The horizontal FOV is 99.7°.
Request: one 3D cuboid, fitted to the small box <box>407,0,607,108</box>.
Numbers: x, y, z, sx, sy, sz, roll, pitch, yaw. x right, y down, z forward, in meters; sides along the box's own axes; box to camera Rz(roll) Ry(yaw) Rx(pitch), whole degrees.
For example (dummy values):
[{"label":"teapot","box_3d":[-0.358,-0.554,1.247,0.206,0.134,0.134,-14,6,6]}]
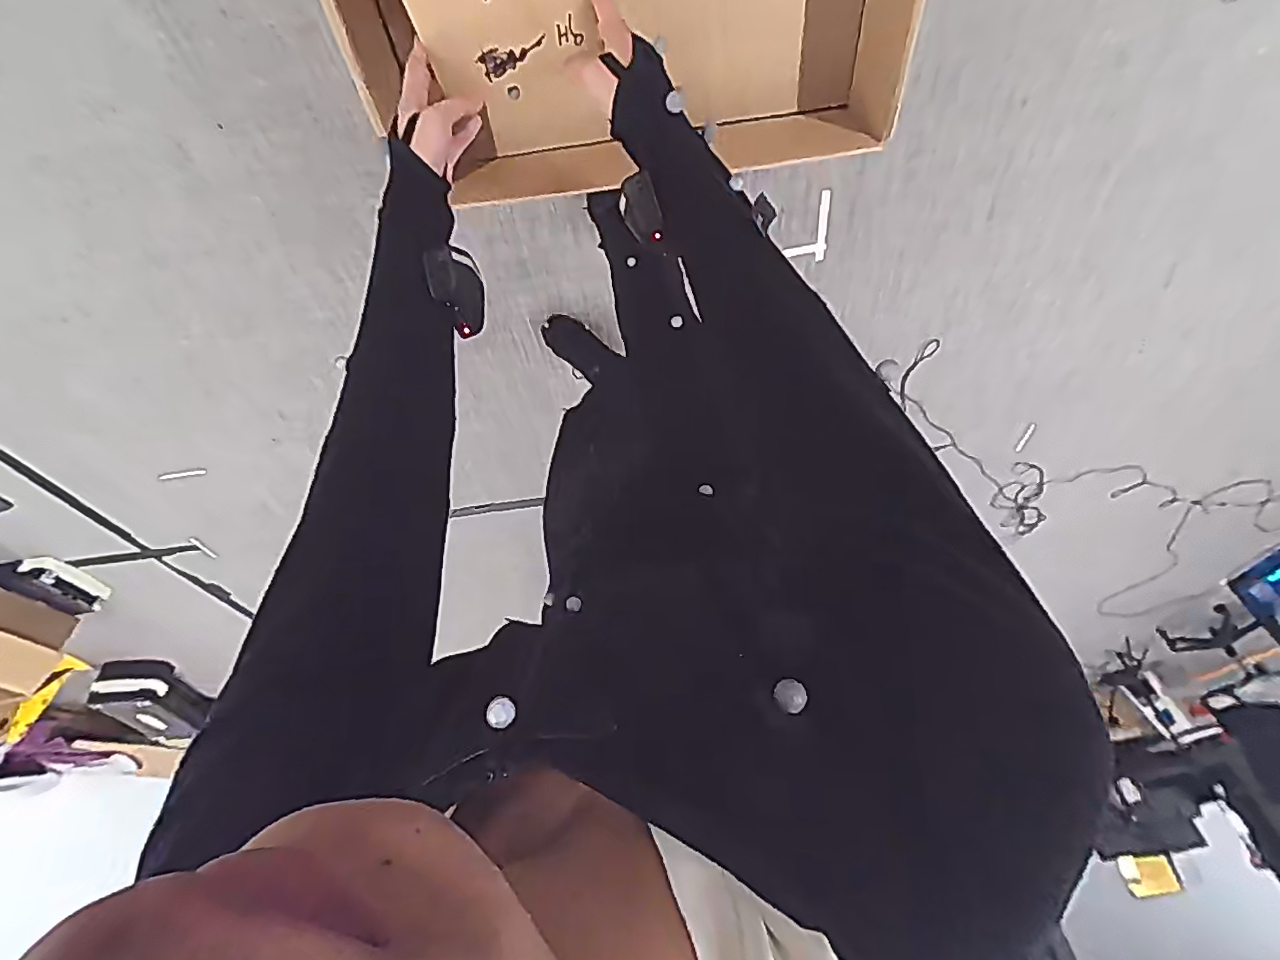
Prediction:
[{"label":"small box","box_3d":[-0.139,-0.504,0.525,0.168,0.176,0.179,-14,139,6]}]
